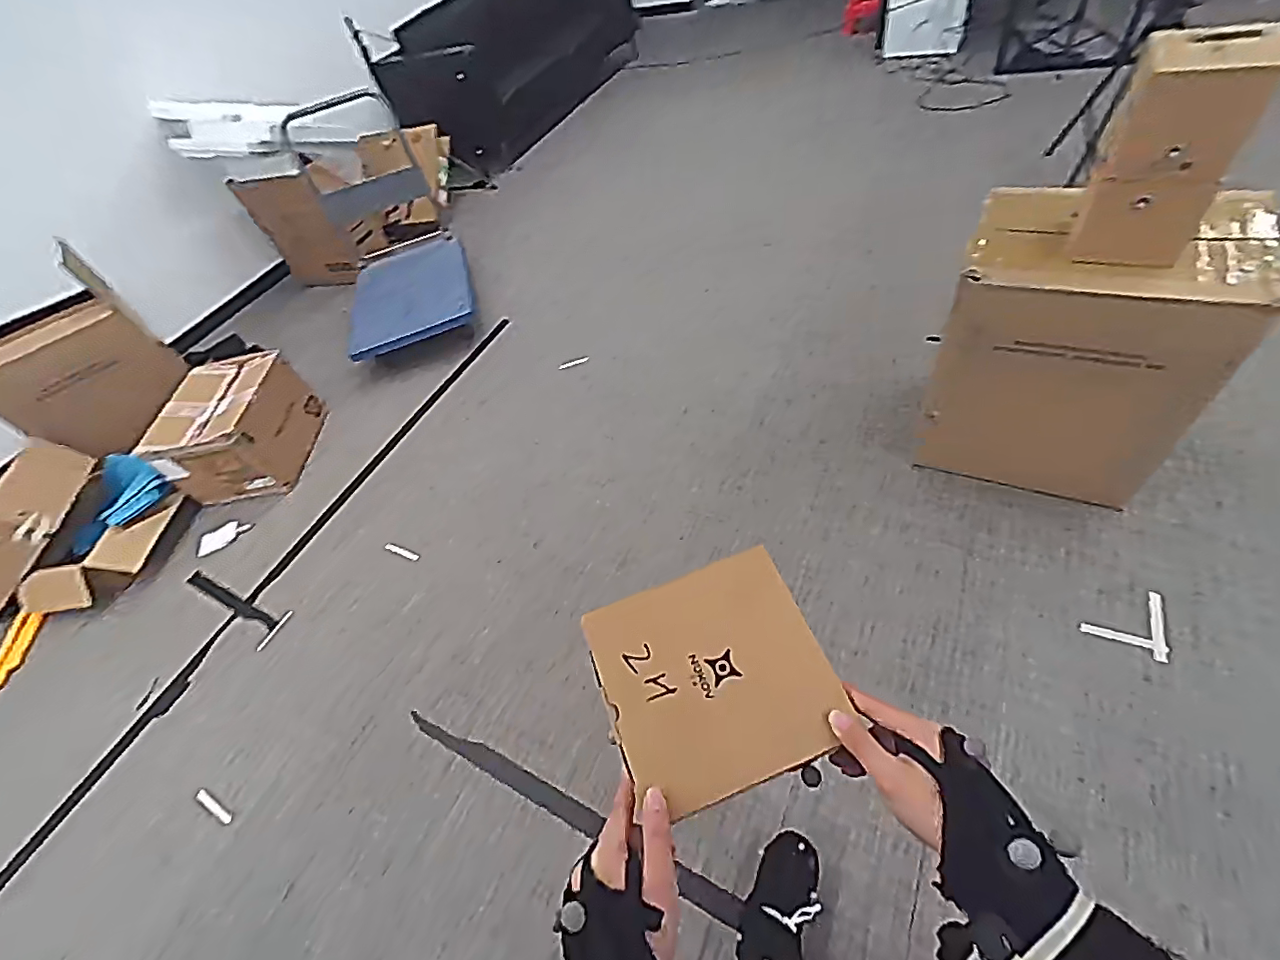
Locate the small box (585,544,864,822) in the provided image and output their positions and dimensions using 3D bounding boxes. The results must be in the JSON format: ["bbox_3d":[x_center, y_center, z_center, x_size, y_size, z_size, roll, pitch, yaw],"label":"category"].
[{"bbox_3d":[0.065,0.188,0.495,0.179,0.176,0.168,-20,58,-6],"label":"small box"}]

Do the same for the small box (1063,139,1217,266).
[{"bbox_3d":[0.969,-0.542,1.063,0.179,0.176,0.168,16,58,25],"label":"small box"}]
